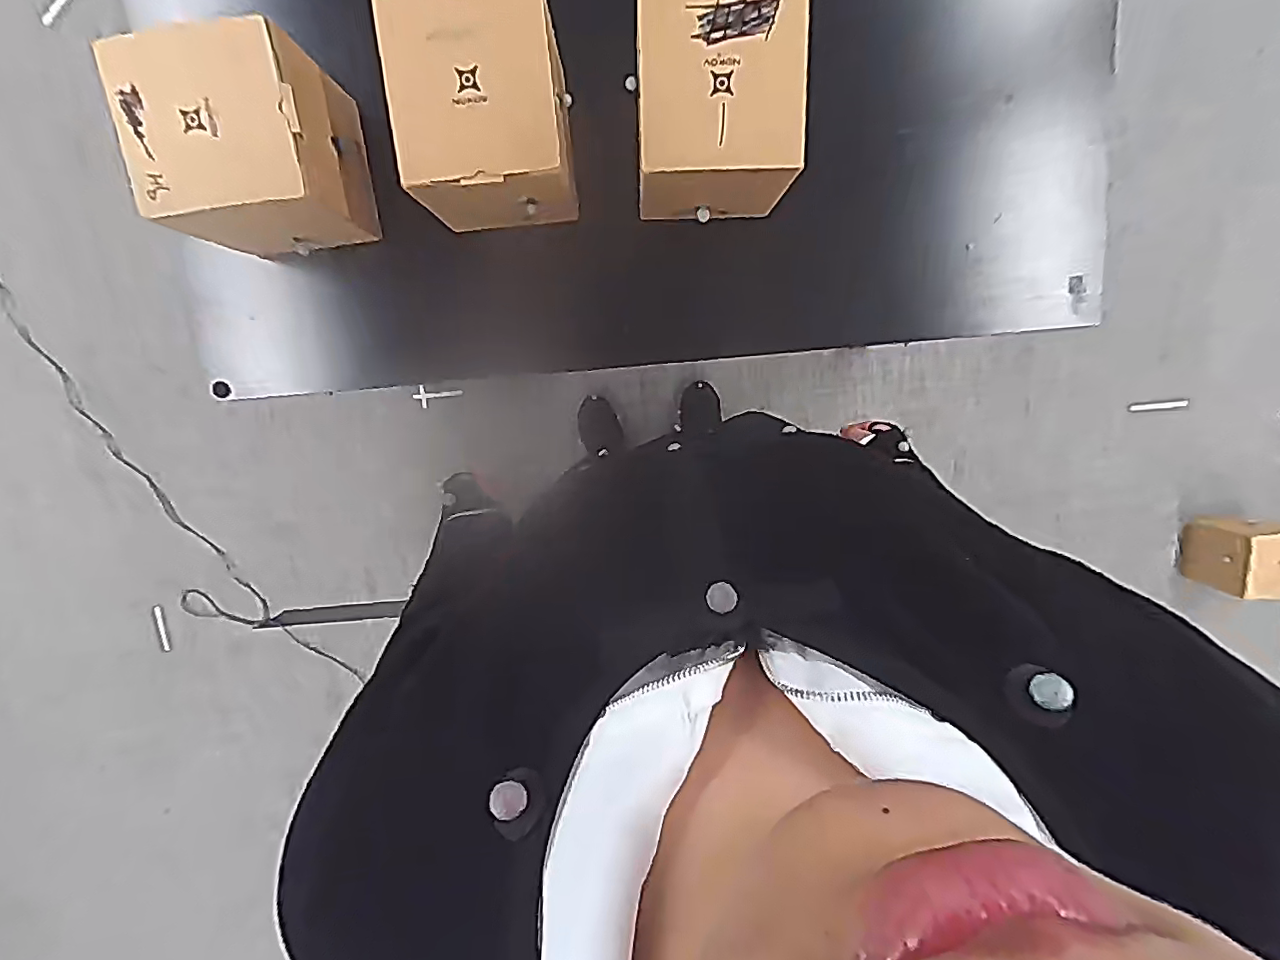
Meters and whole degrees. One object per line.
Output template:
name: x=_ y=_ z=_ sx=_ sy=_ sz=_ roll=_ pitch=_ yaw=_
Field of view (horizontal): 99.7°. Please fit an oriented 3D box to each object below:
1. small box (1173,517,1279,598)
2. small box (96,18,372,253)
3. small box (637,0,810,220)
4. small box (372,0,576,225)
small box: x=1.615 y=0.202 z=1.471 sx=0.168 sy=0.176 sz=0.179 roll=-5 pitch=101 yaw=1
small box: x=-0.429 y=-0.369 z=0.611 sx=0.179 sy=0.176 sz=0.168 roll=-8 pitch=100 yaw=-1
small box: x=0.081 y=-0.411 z=0.608 sx=0.168 sy=0.176 sz=0.179 roll=-1 pitch=101 yaw=-1
small box: x=-0.169 y=-0.402 z=0.609 sx=0.168 sy=0.176 sz=0.179 roll=-6 pitch=99 yaw=0
